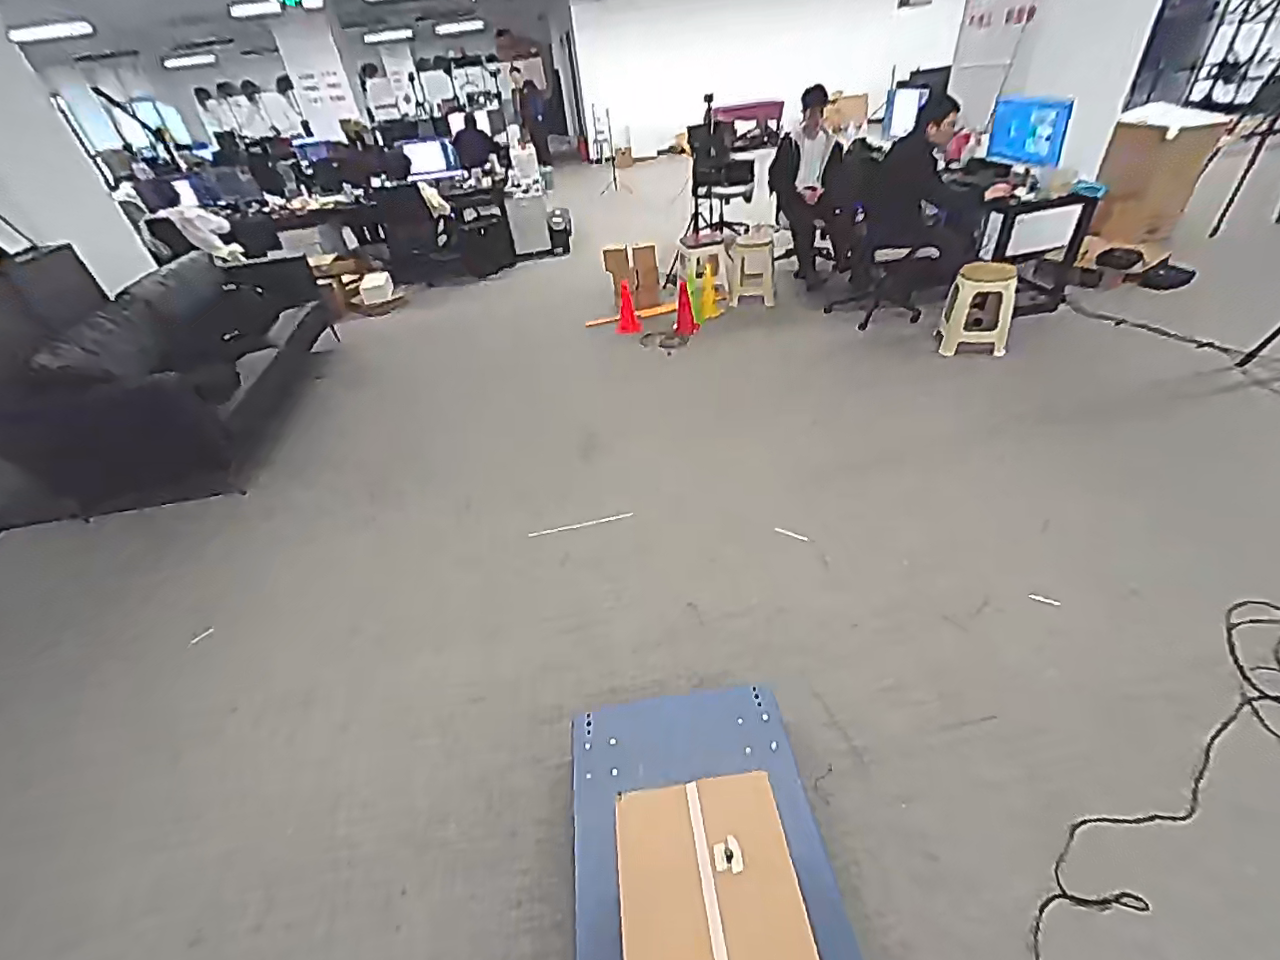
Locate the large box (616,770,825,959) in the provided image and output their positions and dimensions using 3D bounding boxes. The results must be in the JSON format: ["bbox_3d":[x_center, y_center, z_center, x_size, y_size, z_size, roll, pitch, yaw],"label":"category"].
[{"bbox_3d":[0.145,0.841,1.013,0.320,0.320,0.408,-9,36,-1],"label":"large box"}]
